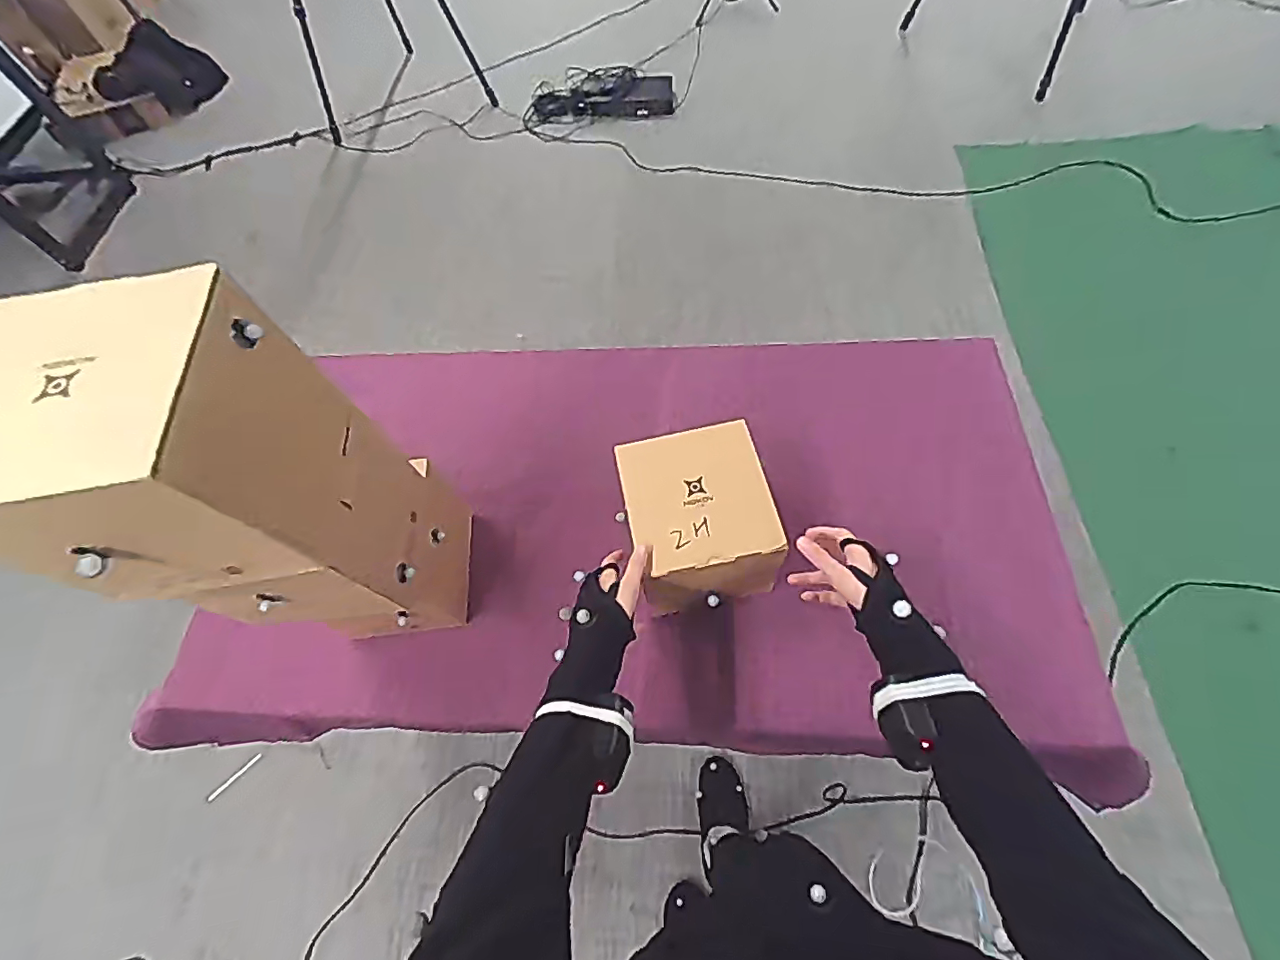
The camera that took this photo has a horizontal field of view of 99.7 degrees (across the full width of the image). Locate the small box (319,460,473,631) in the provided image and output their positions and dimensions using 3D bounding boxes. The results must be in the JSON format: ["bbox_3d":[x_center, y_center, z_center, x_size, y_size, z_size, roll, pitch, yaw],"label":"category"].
[{"bbox_3d":[-0.332,0.096,0.716,0.168,0.176,0.179,-6,61,2],"label":"small box"}]

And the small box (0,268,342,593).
[{"bbox_3d":[-0.356,-0.023,0.411,0.168,0.176,0.179,-10,61,0],"label":"small box"}]

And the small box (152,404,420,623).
[{"bbox_3d":[-0.350,0.043,0.560,0.179,0.176,0.168,-7,62,3],"label":"small box"}]

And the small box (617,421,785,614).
[{"bbox_3d":[0.070,0.053,0.690,0.168,0.176,0.179,-12,62,0],"label":"small box"}]
